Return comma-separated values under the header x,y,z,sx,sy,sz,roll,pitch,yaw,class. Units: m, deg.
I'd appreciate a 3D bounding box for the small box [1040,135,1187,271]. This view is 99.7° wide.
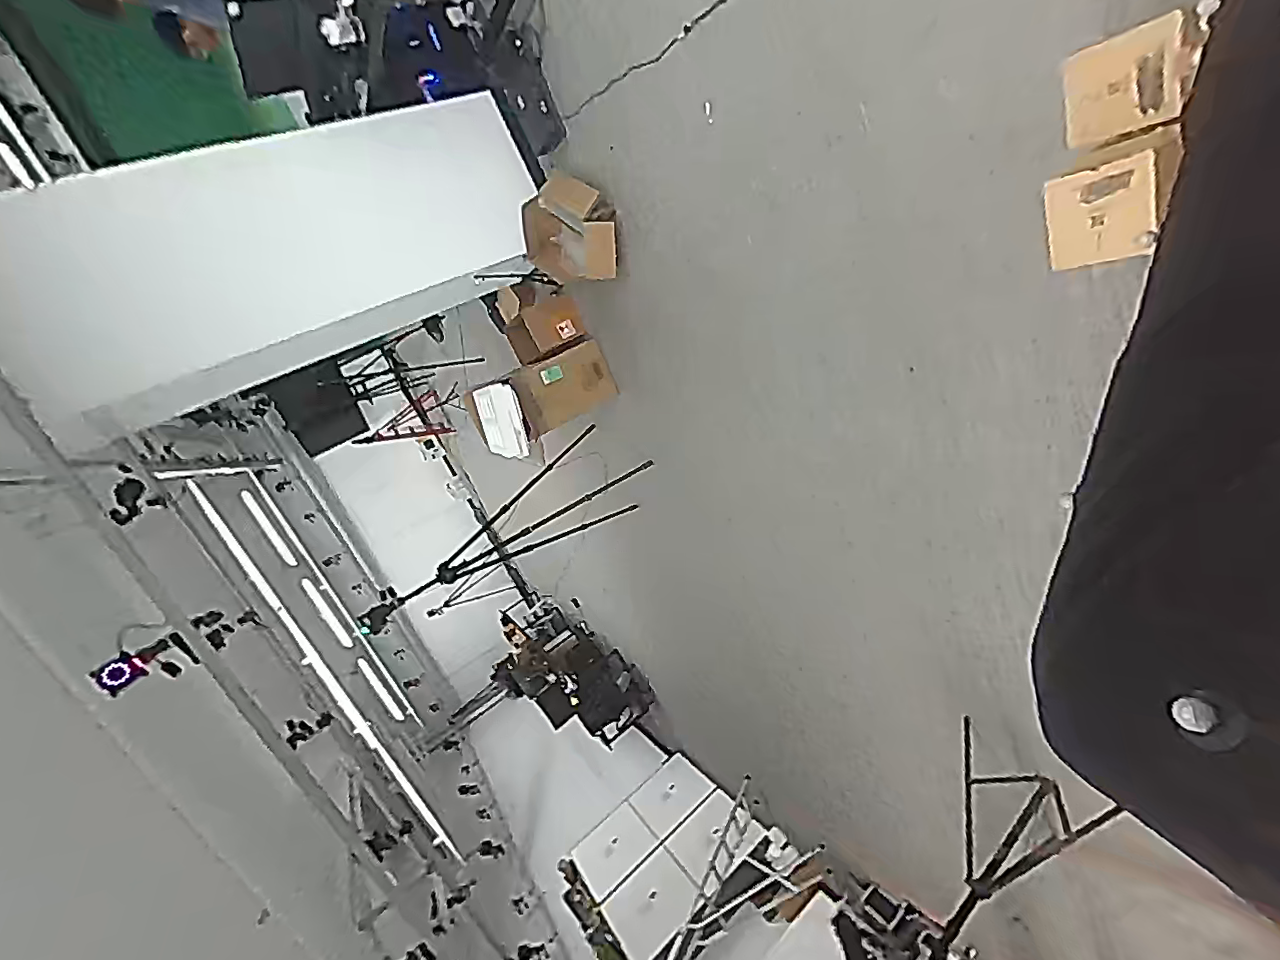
x,y,z,sx,sy,sz,roll,pitch,yaw,class
0.901,-0.527,1.030,0.168,0.176,0.179,13,132,58,small box
